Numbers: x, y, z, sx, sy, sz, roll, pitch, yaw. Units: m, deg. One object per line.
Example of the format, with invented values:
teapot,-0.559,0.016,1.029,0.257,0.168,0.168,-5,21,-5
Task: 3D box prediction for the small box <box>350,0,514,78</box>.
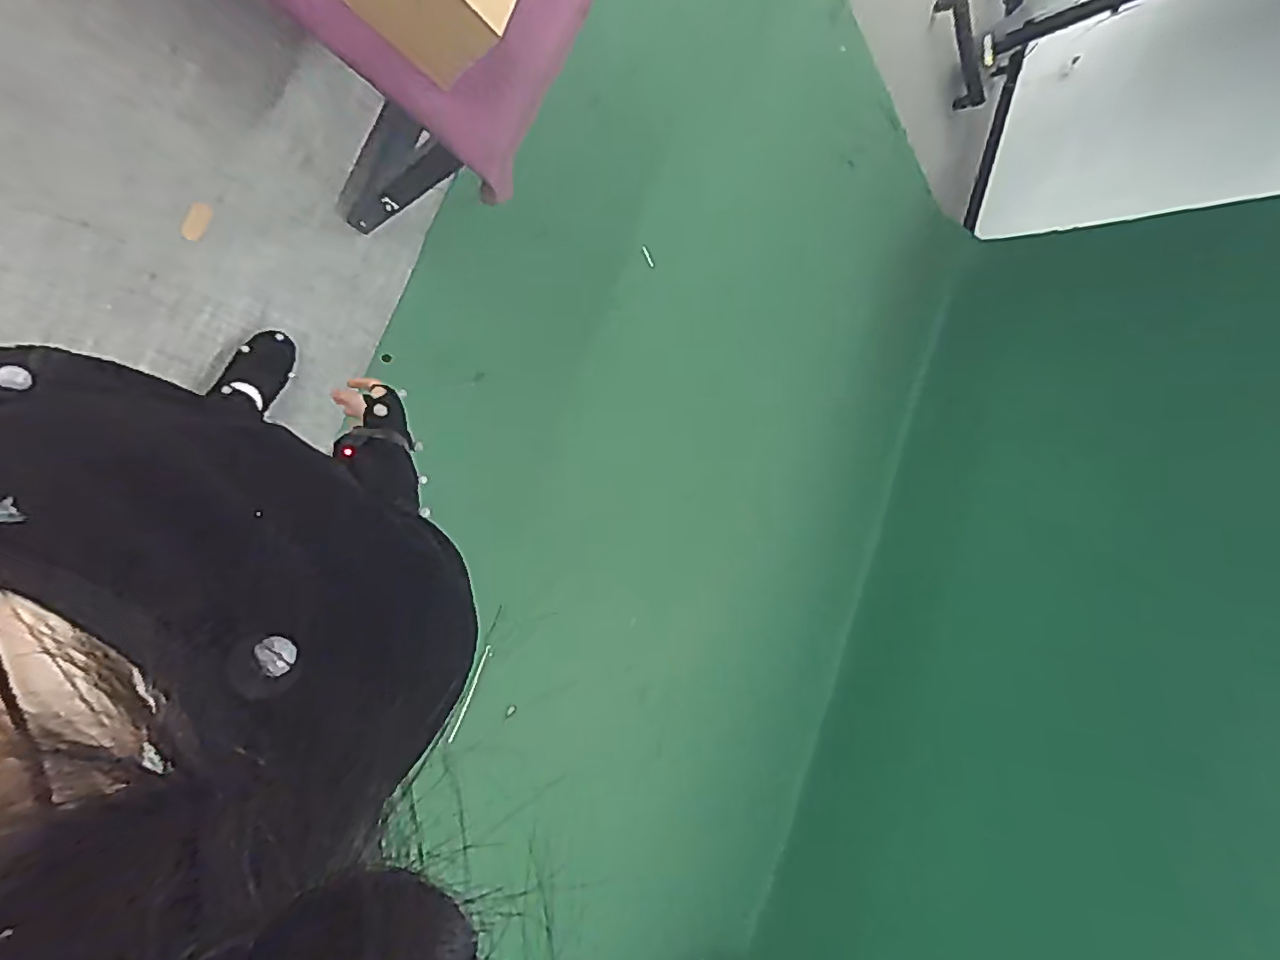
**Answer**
small box,-0.248,-0.636,0.642,0.179,0.176,0.168,26,81,-42
